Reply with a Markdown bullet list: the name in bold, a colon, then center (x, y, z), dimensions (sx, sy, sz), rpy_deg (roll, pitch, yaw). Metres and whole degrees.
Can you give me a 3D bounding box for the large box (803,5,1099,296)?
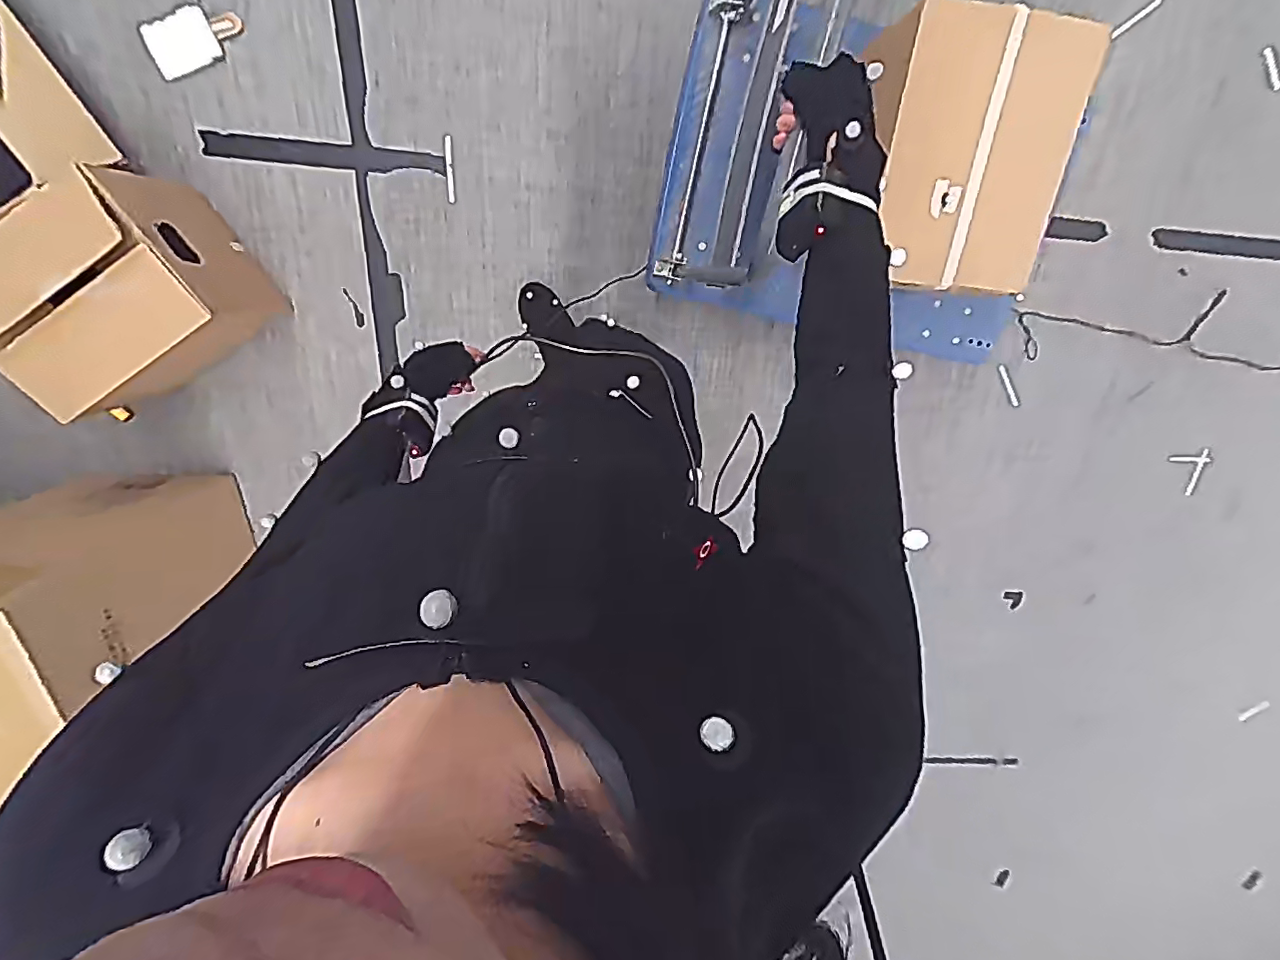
- **large box**: center (0.546, -0.584, 1.041), dimensions (0.320, 0.320, 0.408), rpy_deg (4, 111, -6)
